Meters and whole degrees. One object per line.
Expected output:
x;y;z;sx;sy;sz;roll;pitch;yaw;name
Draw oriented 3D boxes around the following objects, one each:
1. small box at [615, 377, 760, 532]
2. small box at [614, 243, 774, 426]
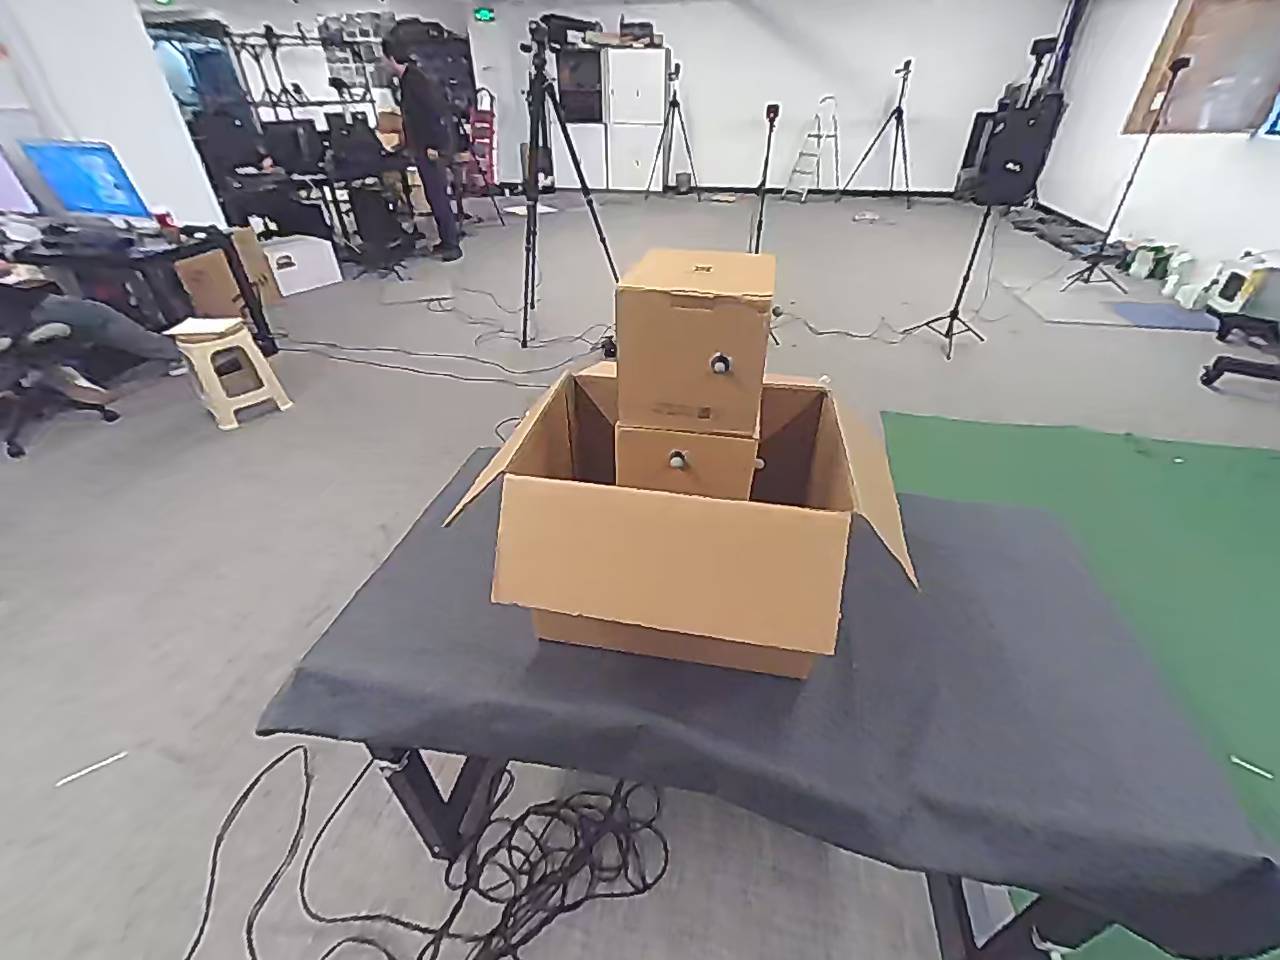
0.068;-0.046;0.755;0.179;0.176;0.168;6;36;8;small box
0.069;-0.182;0.666;0.168;0.176;0.179;8;35;9;small box
